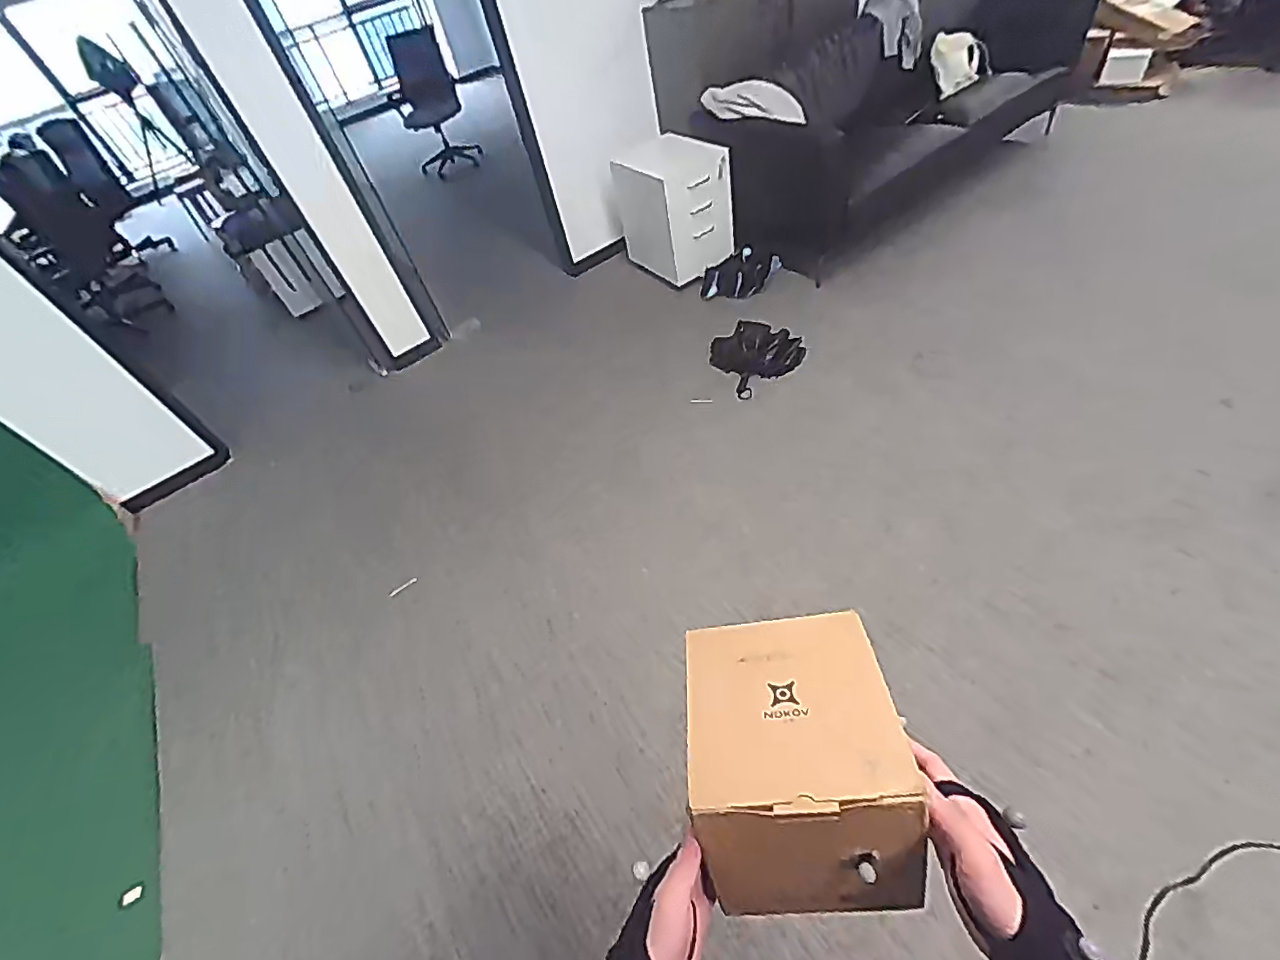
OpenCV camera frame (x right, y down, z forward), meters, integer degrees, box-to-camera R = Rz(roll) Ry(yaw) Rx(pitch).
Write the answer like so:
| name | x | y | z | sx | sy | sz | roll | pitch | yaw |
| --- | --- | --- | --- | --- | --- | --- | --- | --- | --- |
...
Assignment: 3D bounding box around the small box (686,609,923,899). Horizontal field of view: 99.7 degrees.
| name | x | y | z | sx | sy | sz | roll | pitch | yaw |
| --- | --- | --- | --- | --- | --- | --- | --- | --- | --- |
| small box | 0.137 | 0.246 | 0.486 | 0.168 | 0.176 | 0.179 | -9 | 29 | 9 |
